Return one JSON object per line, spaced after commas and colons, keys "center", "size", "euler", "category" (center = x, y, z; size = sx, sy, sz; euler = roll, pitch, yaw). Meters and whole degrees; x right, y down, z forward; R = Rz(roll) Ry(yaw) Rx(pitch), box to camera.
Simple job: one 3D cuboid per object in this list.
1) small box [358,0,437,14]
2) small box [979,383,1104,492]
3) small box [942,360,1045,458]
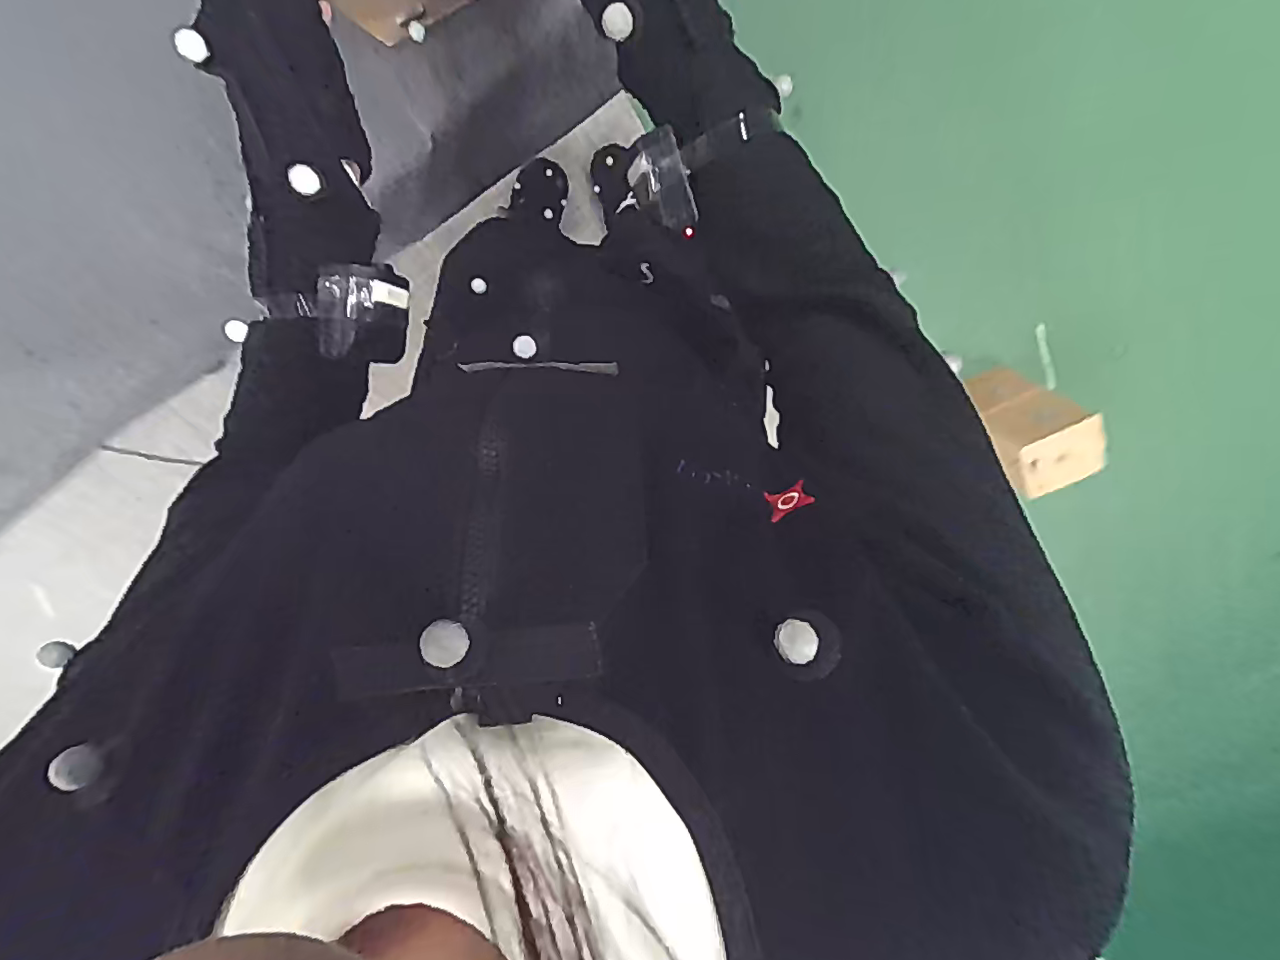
{"center": [-0.157, -0.427, 0.326], "size": [0.168, 0.176, 0.179], "euler": [-21, 116, 6], "category": "small box"}
{"center": [0.973, -0.109, 1.318], "size": [0.179, 0.176, 0.168], "euler": [-27, 120, 12], "category": "small box"}
{"center": [0.957, -0.197, 1.456], "size": [0.179, 0.176, 0.168], "euler": [-27, 120, 14], "category": "small box"}
